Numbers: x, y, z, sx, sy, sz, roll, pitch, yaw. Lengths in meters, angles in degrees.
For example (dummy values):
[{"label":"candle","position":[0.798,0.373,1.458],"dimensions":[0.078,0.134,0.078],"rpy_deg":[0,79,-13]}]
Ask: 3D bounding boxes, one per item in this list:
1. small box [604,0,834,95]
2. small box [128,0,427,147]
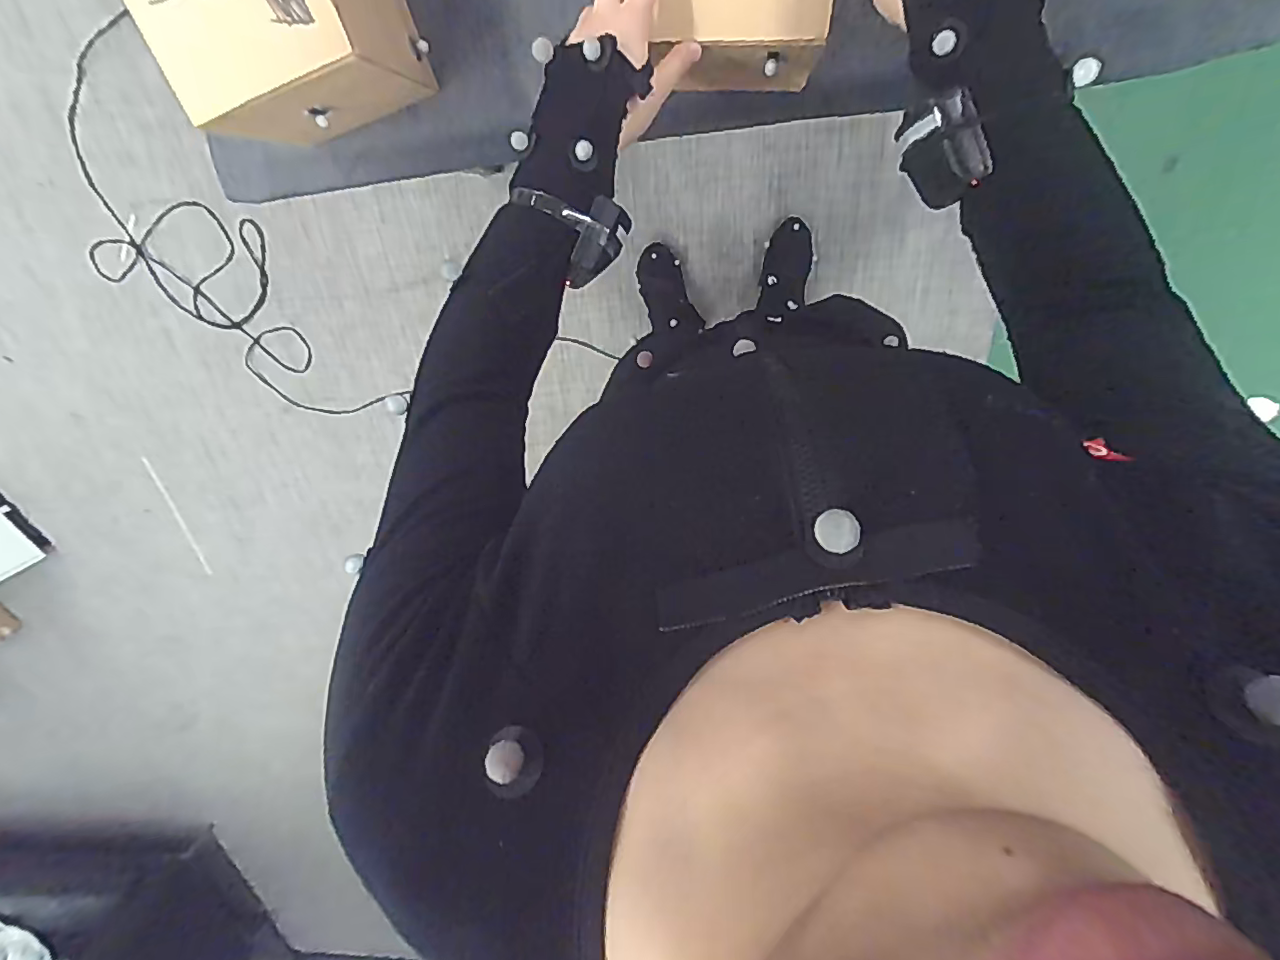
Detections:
[{"label":"small box","position":[0.071,-0.442,0.460],"dimensions":[0.179,0.176,0.168],"rpy_deg":[4,116,7]},{"label":"small box","position":[-0.328,-0.436,0.508],"dimensions":[0.179,0.176,0.168],"rpy_deg":[-12,115,13]}]
